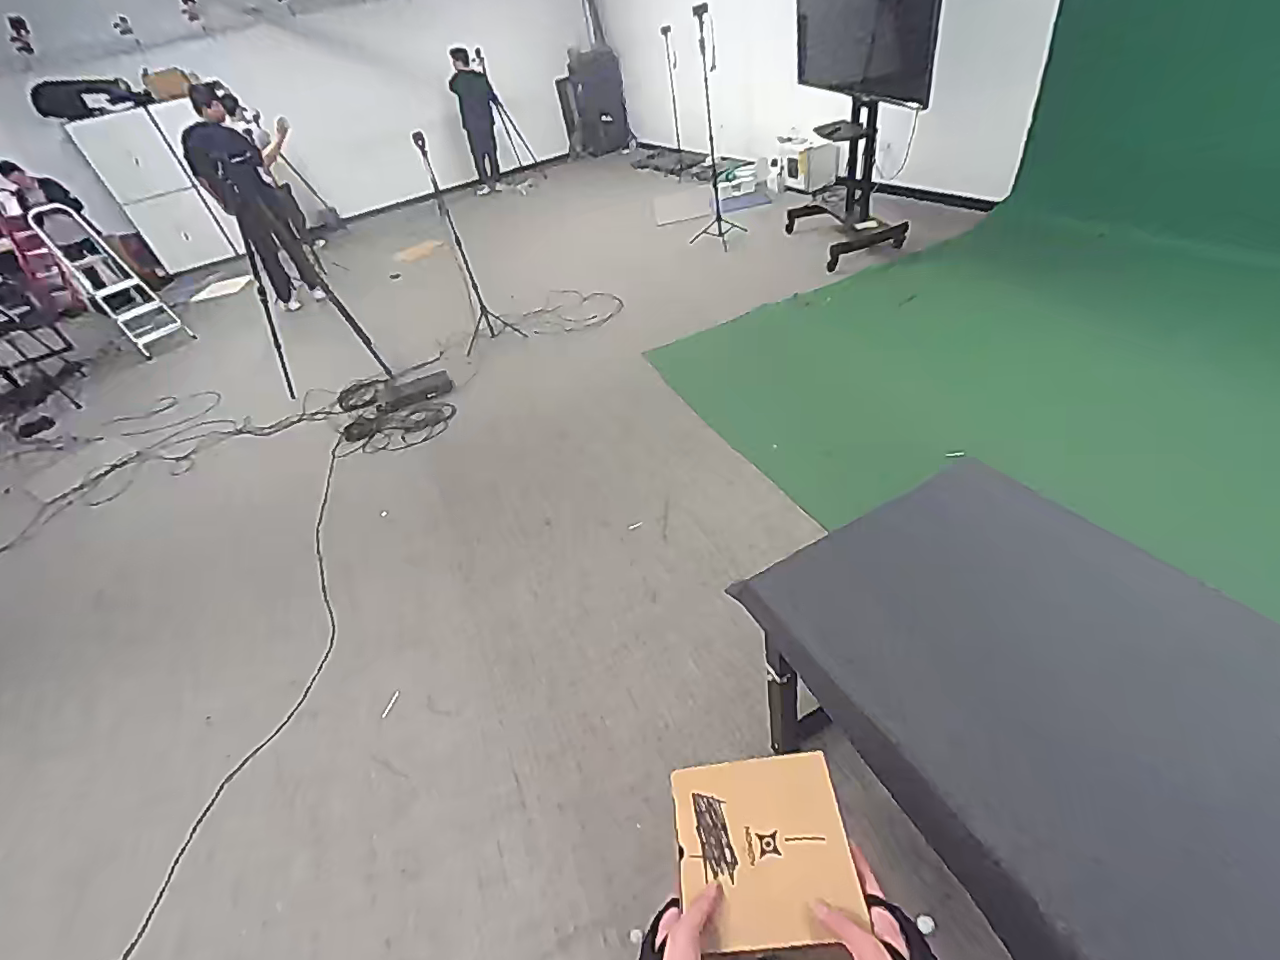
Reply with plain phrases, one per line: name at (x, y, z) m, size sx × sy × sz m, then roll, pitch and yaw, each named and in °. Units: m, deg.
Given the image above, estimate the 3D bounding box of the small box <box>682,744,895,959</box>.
small box at (0.150, 0.415, 0.585) m, size 0.179 × 0.176 × 0.168 m, roll -10°, pitch 40°, yaw 4°
